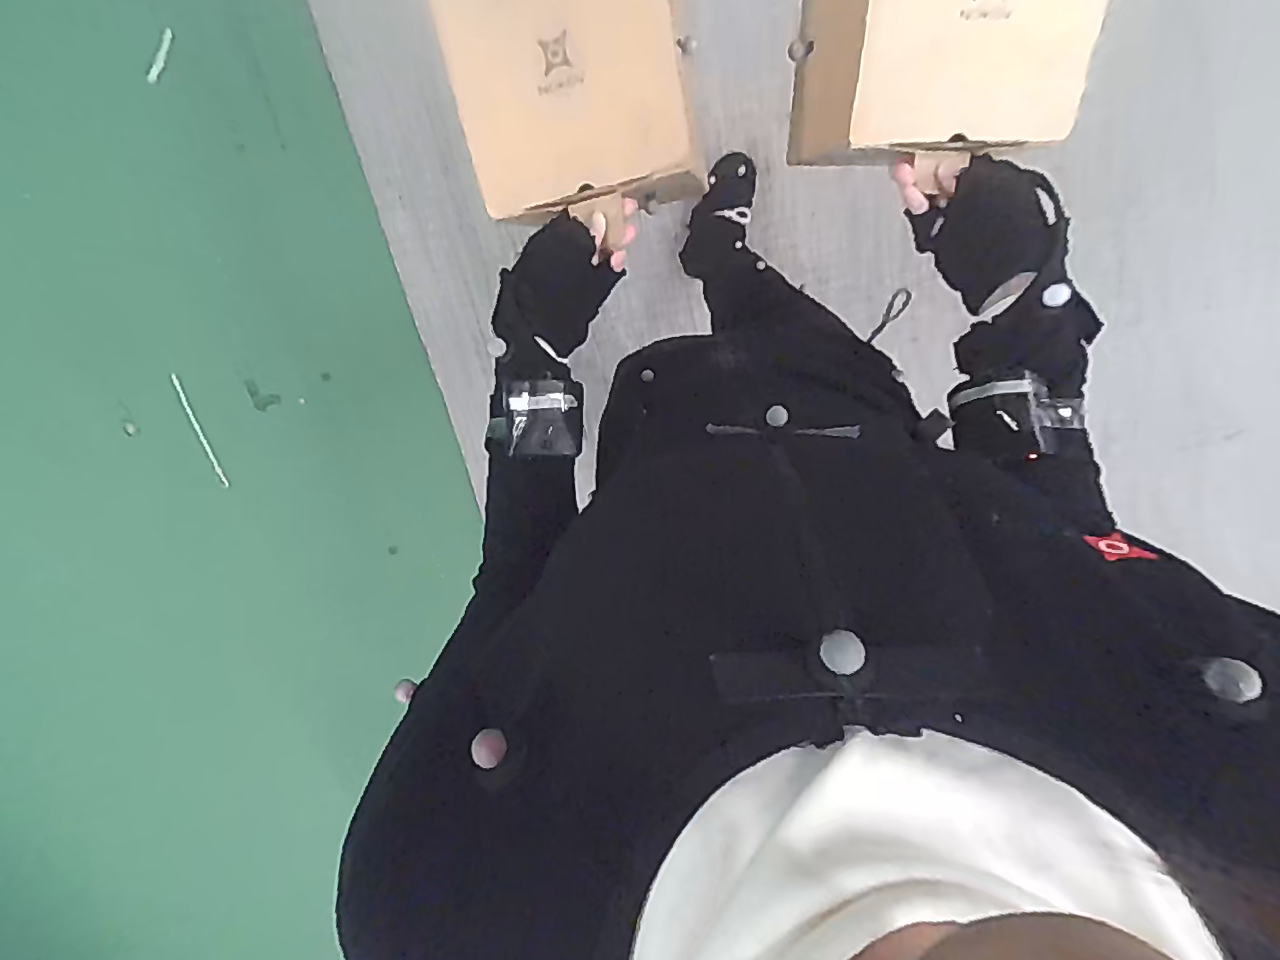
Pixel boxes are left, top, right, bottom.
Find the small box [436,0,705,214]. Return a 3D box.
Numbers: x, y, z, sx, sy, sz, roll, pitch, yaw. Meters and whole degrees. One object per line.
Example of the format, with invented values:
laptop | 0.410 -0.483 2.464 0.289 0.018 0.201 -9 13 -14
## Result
small box | -0.042 -0.336 0.454 0.168 0.176 0.179 -8 109 13
